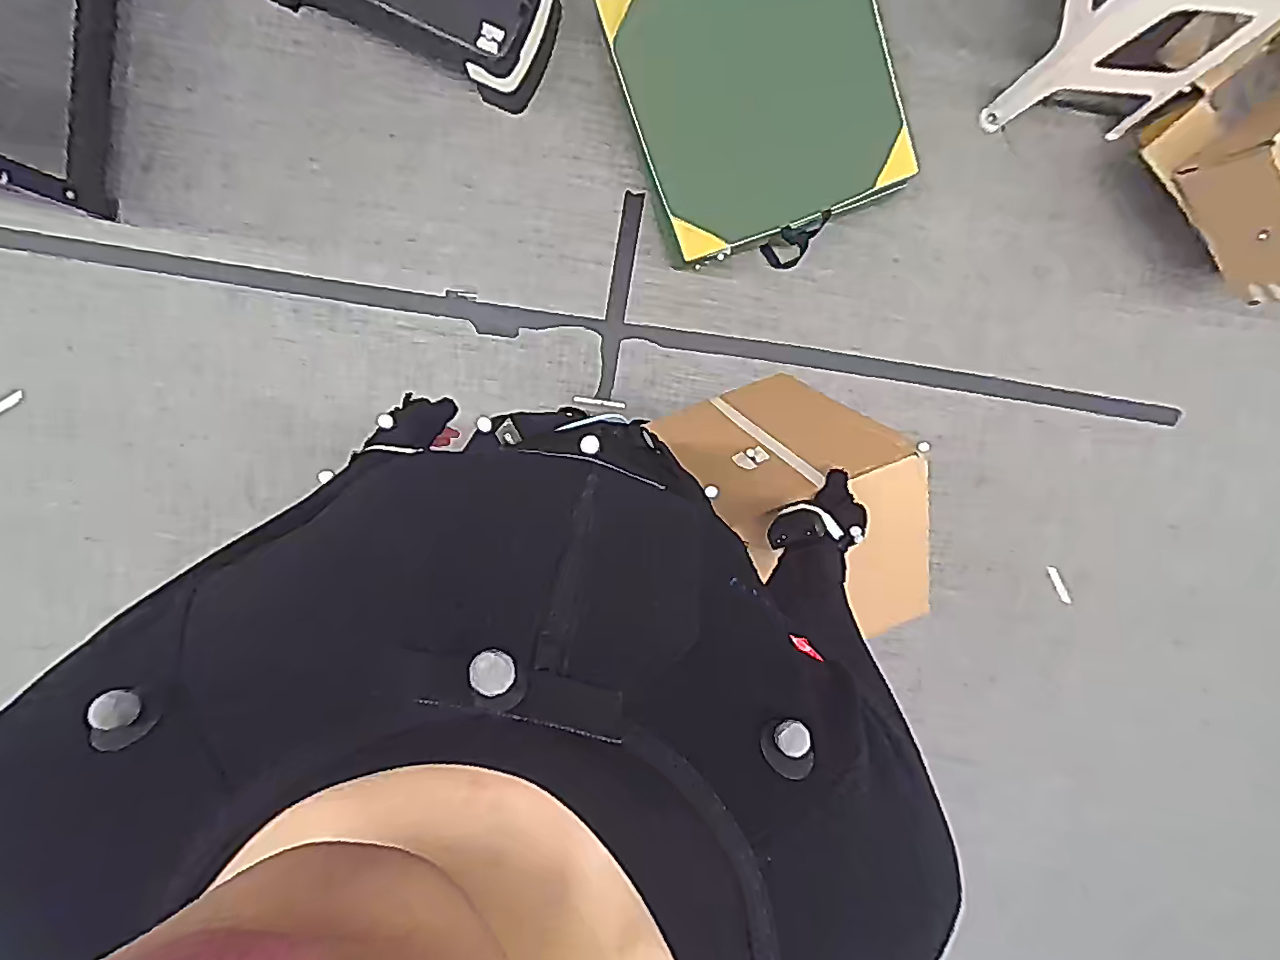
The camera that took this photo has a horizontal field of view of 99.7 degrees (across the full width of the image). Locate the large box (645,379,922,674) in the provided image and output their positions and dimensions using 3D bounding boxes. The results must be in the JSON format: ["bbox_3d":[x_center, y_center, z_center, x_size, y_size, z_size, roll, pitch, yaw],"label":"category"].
[{"bbox_3d":[0.237,0.058,0.983,0.320,0.408,0.320,-21,121,-5],"label":"large box"}]
